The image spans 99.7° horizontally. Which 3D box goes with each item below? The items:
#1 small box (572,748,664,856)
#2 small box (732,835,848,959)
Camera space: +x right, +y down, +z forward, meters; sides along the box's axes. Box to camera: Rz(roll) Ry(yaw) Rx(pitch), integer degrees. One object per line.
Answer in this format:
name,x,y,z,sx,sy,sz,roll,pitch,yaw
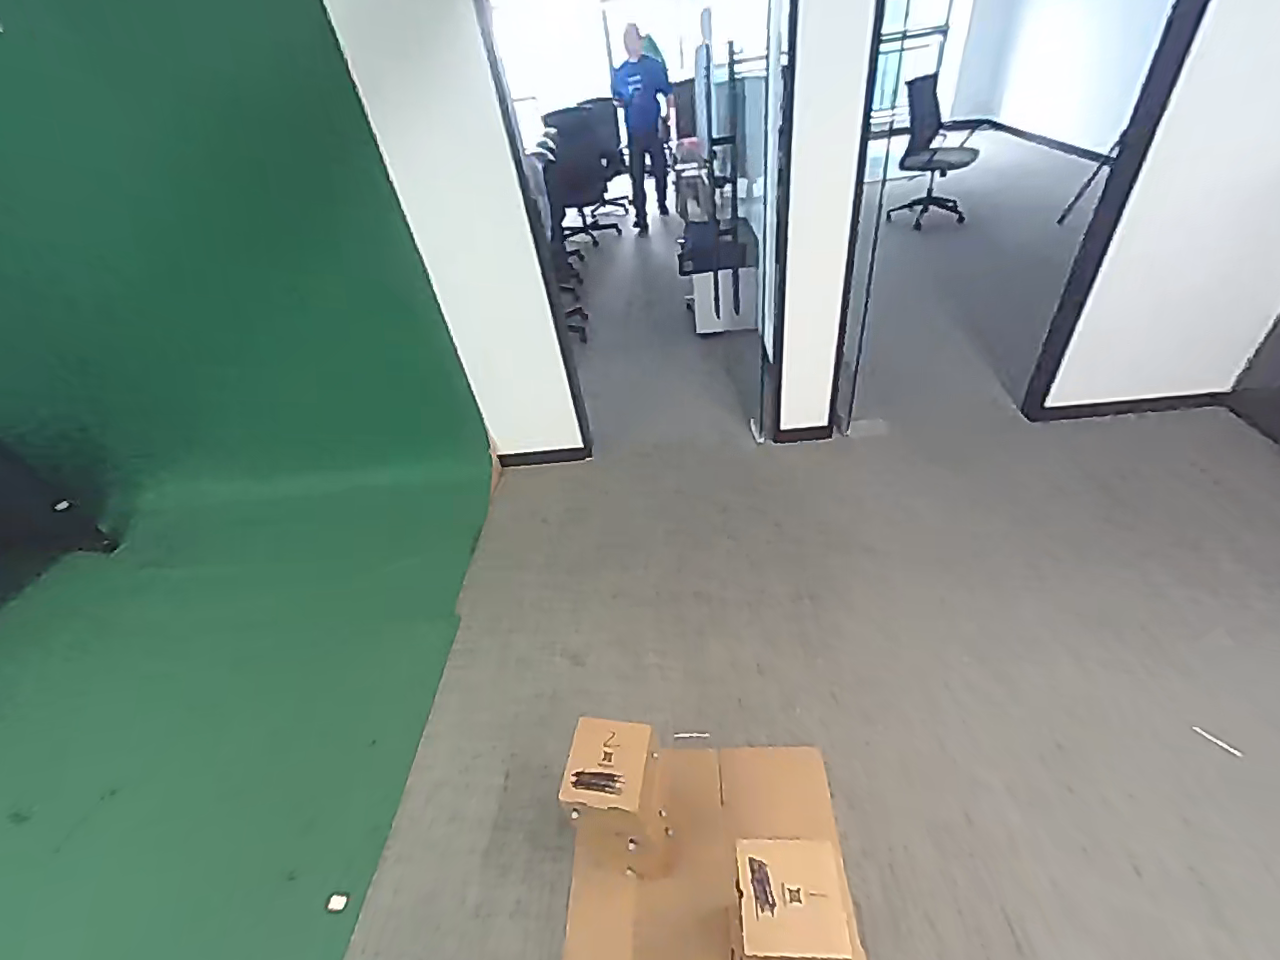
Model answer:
small box,-0.043,0.767,1.286,0.179,0.176,0.168,1,41,12
small box,0.263,0.767,0.982,0.179,0.176,0.168,-4,41,7
